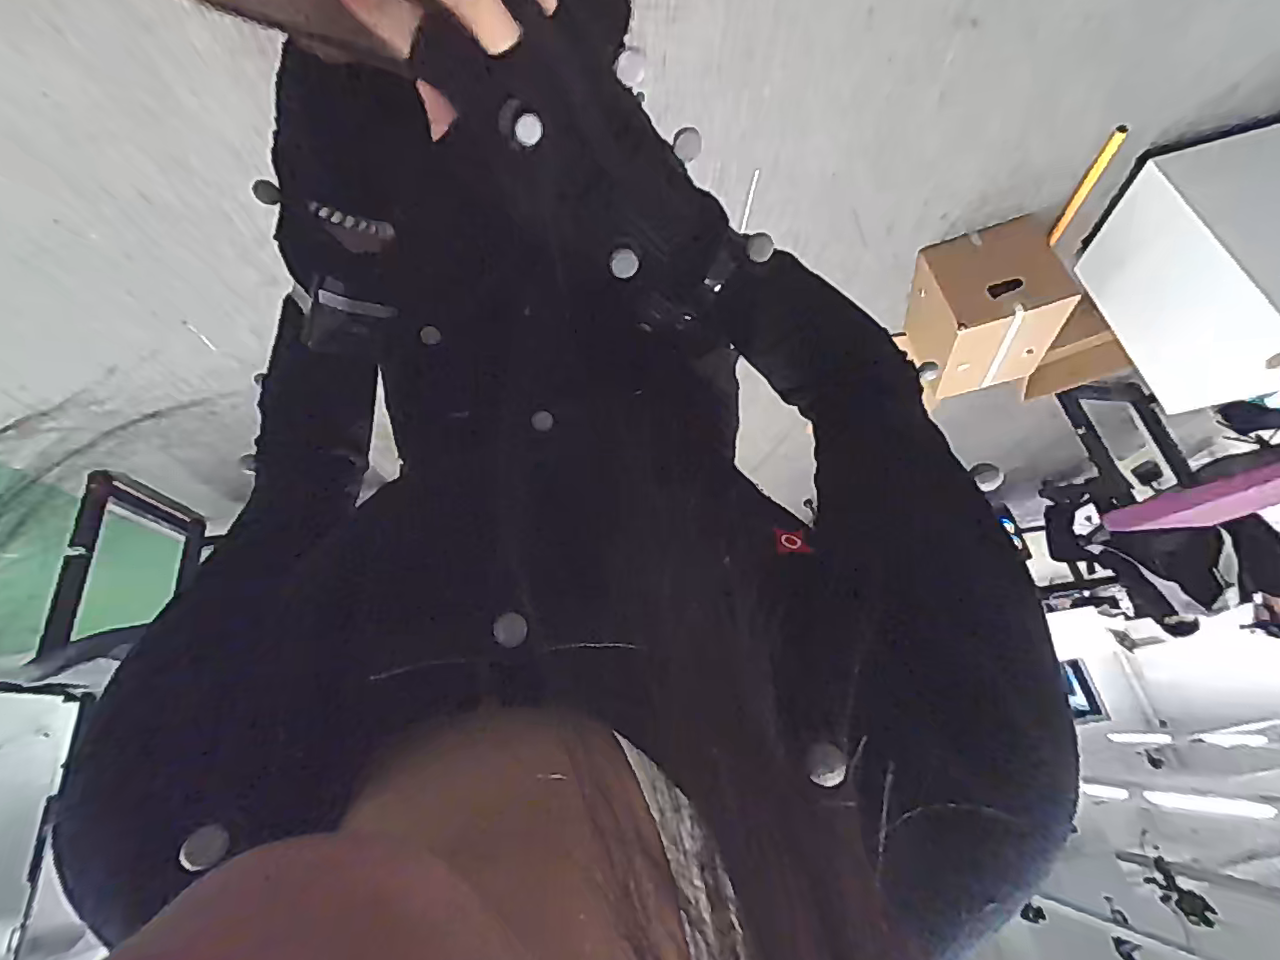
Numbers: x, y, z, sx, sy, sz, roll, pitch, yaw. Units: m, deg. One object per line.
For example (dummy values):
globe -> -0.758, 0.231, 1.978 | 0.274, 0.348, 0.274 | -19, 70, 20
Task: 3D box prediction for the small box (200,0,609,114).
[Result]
small box -> -0.111, -0.294, 0.220 | 0.179, 0.168, 0.176 | -14, 146, -39
